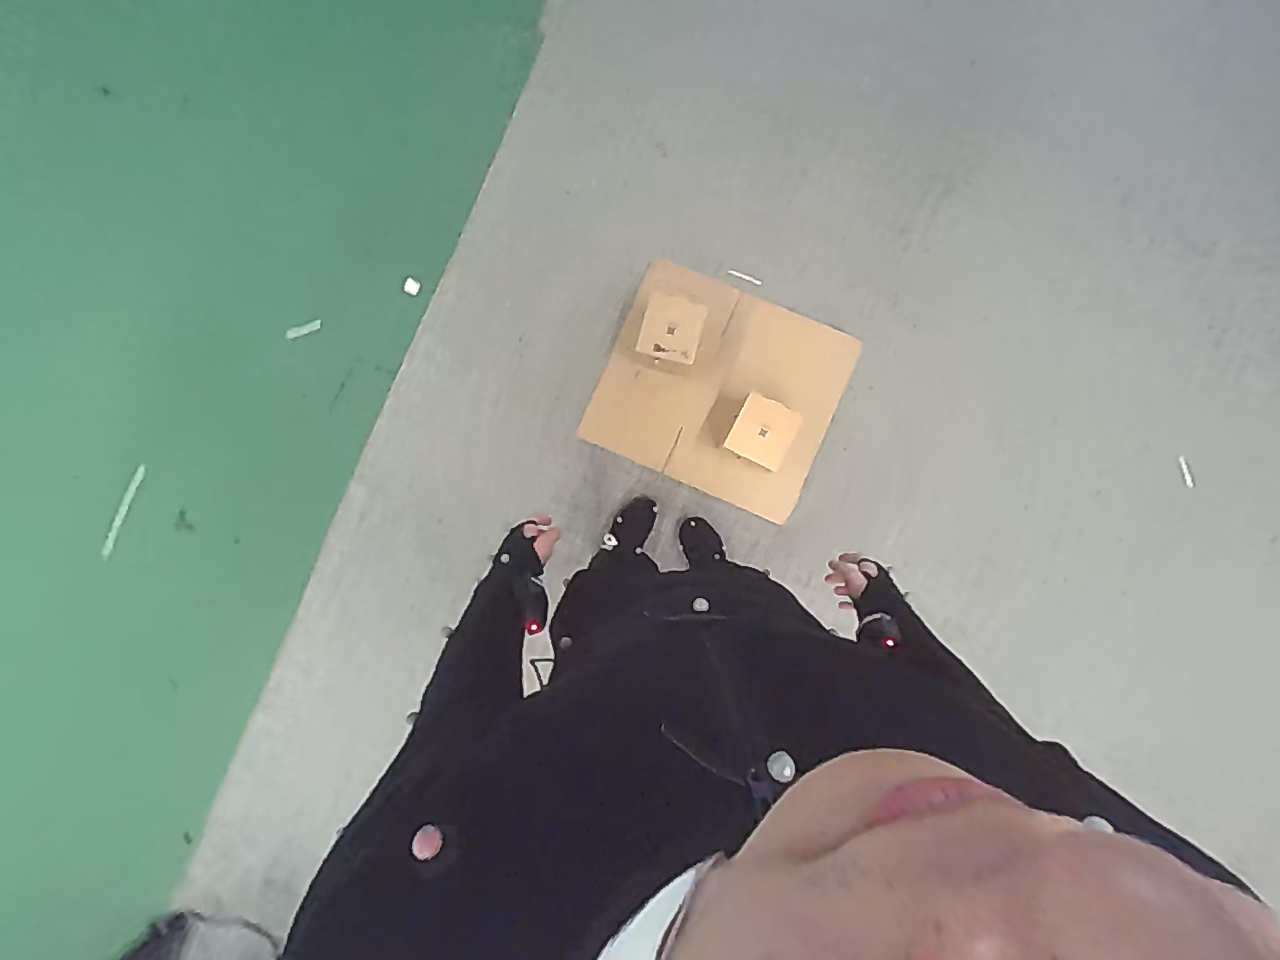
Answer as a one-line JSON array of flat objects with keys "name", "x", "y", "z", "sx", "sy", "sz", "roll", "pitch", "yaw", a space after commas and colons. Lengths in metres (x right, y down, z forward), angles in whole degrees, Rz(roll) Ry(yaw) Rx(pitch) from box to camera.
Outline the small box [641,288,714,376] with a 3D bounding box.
[{"name": "small box", "x": 0.103, "y": -0.418, "z": 1.553, "sx": 0.168, "sy": 0.176, "sz": 0.179, "roll": 16, "pitch": 89, "yaw": 3}]

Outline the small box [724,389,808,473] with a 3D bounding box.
[{"name": "small box", "x": 0.348, "y": -0.130, "z": 1.532, "sx": 0.168, "sy": 0.176, "sz": 0.179, "roll": 28, "pitch": 89, "yaw": 4}]
